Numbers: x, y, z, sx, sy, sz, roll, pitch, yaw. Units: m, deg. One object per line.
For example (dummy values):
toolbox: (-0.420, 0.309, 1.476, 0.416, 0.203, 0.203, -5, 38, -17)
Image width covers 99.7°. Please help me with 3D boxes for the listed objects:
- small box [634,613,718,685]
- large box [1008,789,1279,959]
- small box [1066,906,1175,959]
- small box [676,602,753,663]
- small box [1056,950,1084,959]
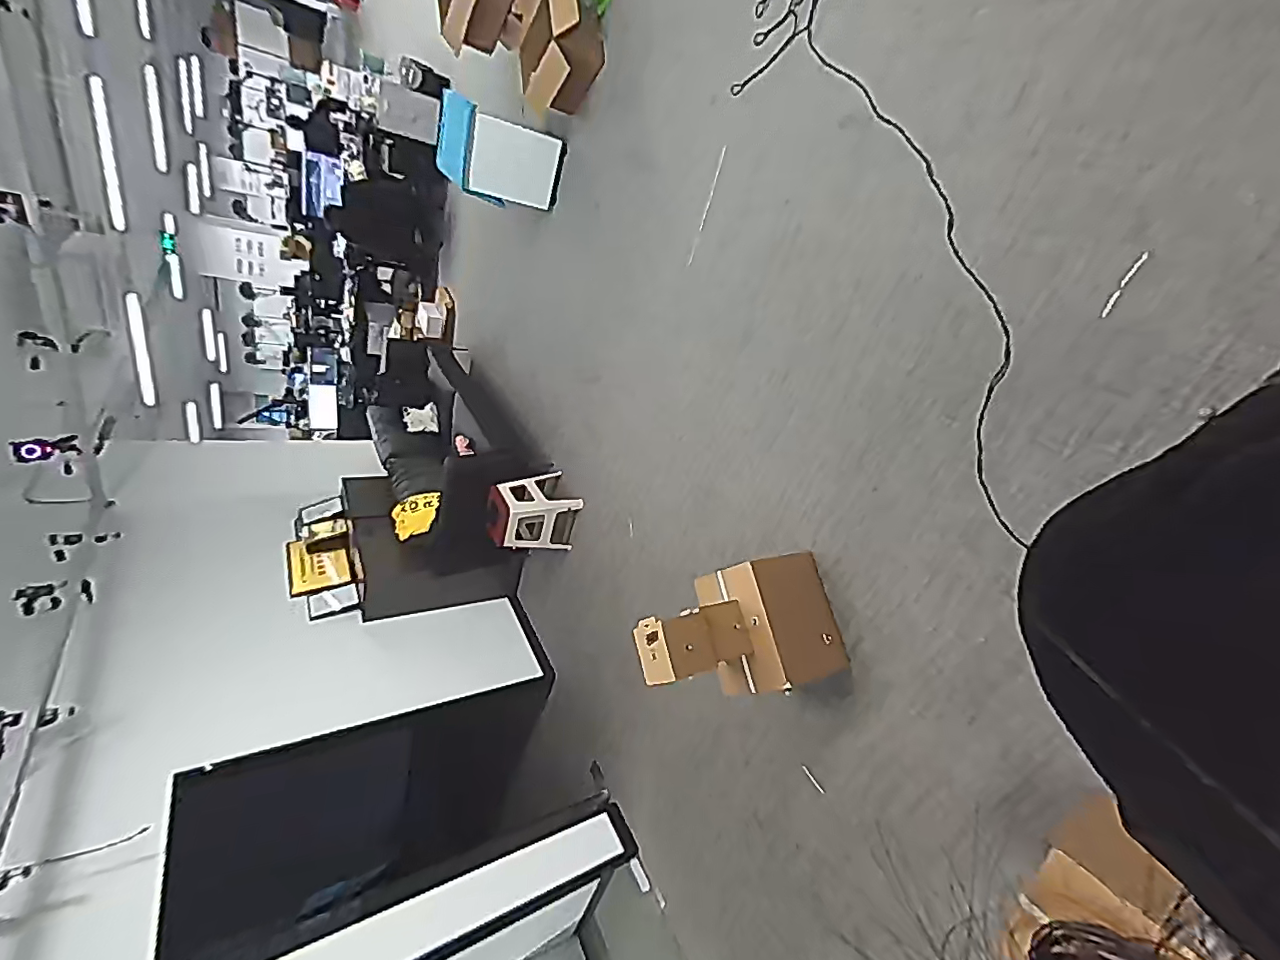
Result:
small box: (0.111, 0.514, 1.655, 0.168, 0.176, 0.179, -37, 64, 51)
large box: (1.042, 0.917, 1.055, 0.408, 0.320, 0.320, 31, 118, 49)
small box: (0.830, 0.891, 0.926, 0.168, 0.176, 0.179, 39, 123, 48)
small box: (0.237, 0.505, 1.762, 0.168, 0.176, 0.179, -43, 57, 50)
small box: (0.693, 0.902, 0.840, 0.179, 0.176, 0.168, 41, 125, 47)
